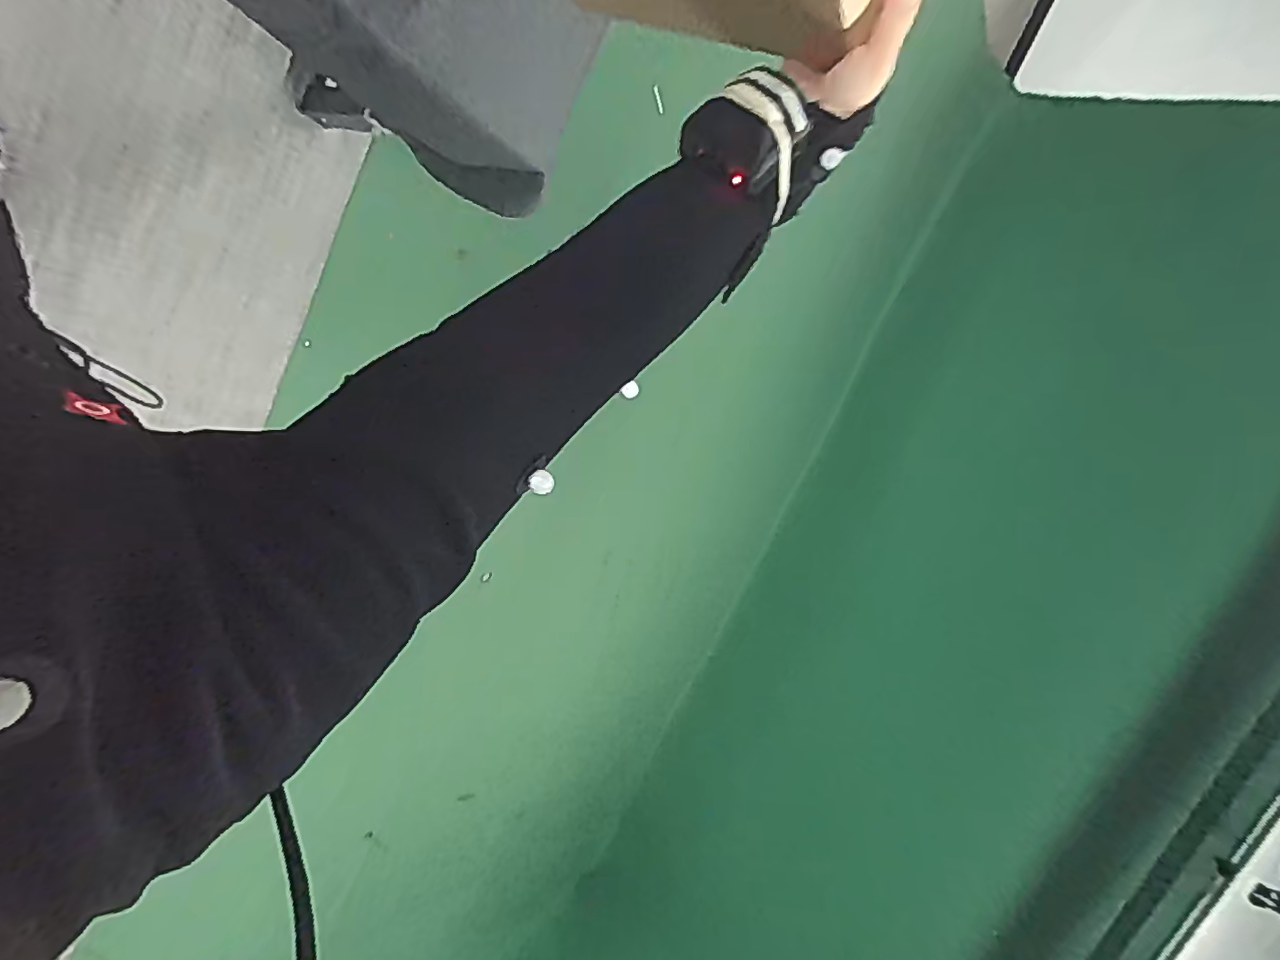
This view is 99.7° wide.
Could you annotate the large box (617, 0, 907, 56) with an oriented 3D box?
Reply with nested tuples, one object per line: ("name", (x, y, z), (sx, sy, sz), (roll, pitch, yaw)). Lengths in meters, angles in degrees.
("large box", (0.047, -0.527, 0.246), (0.320, 0.320, 0.408), (-52, 151, 7))
